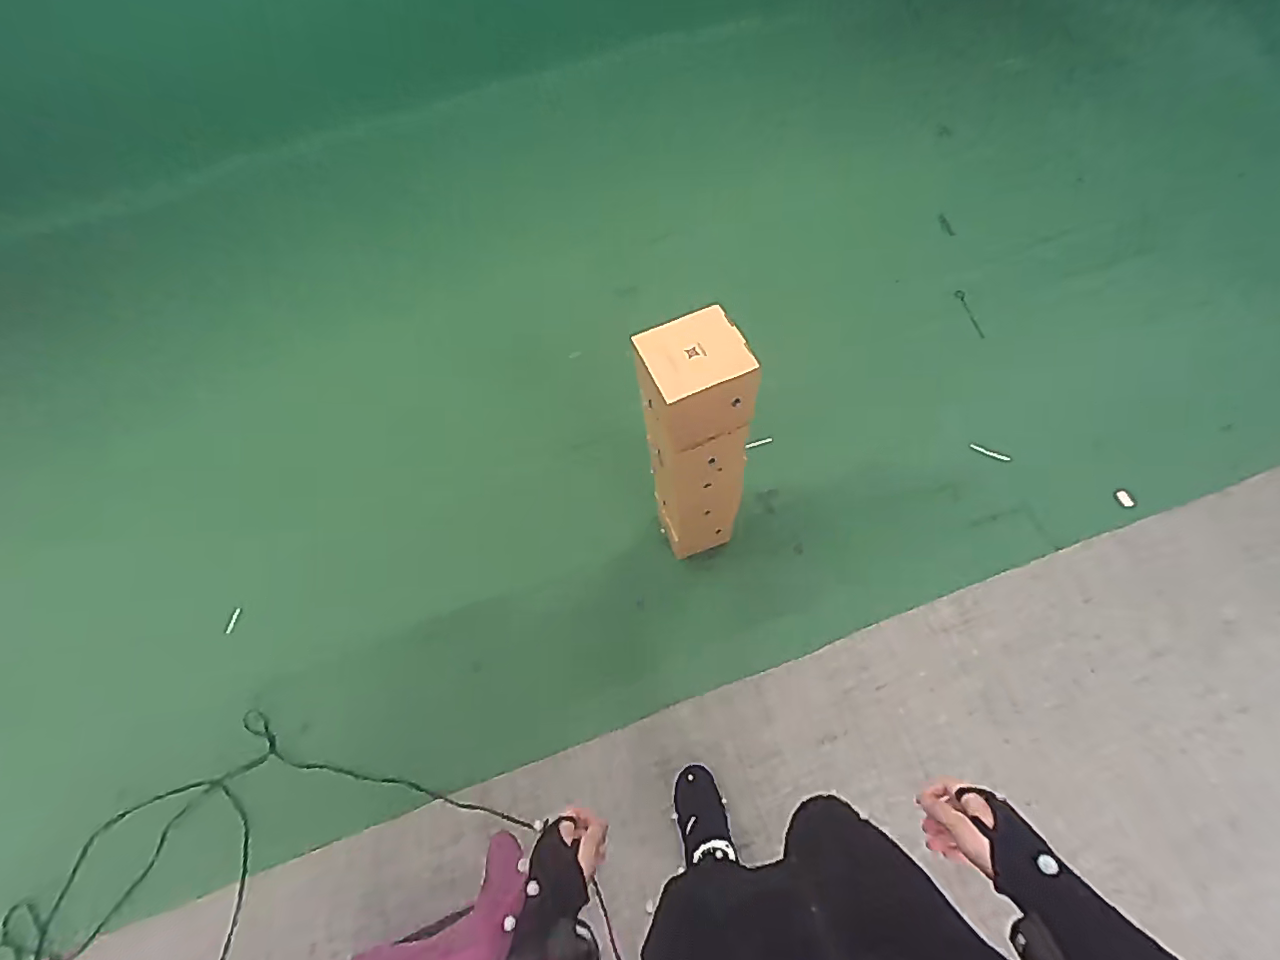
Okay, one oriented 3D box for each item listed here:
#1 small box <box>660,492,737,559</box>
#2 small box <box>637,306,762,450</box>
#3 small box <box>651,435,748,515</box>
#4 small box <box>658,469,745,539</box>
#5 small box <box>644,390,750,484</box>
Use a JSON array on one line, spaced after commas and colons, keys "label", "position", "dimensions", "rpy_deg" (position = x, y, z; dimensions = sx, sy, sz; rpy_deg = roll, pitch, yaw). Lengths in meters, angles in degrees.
[{"label": "small box", "position": [0.169, 0.111, 1.592], "dimensions": [0.179, 0.176, 0.168], "rpy_deg": [-20, 63, -4]}, {"label": "small box", "position": [0.108, -0.185, 1.013], "dimensions": [0.179, 0.176, 0.168], "rpy_deg": [-22, 63, -4]}, {"label": "small box", "position": [0.142, -0.039, 1.304], "dimensions": [0.179, 0.176, 0.168], "rpy_deg": [-24, 64, -7]}, {"label": "small box", "position": [0.160, 0.034, 1.450], "dimensions": [0.179, 0.176, 0.168], "rpy_deg": [-23, 64, -5]}, {"label": "small box", "position": [0.120, -0.109, 1.158], "dimensions": [0.168, 0.176, 0.179], "rpy_deg": [-22, 65, -5]}]
